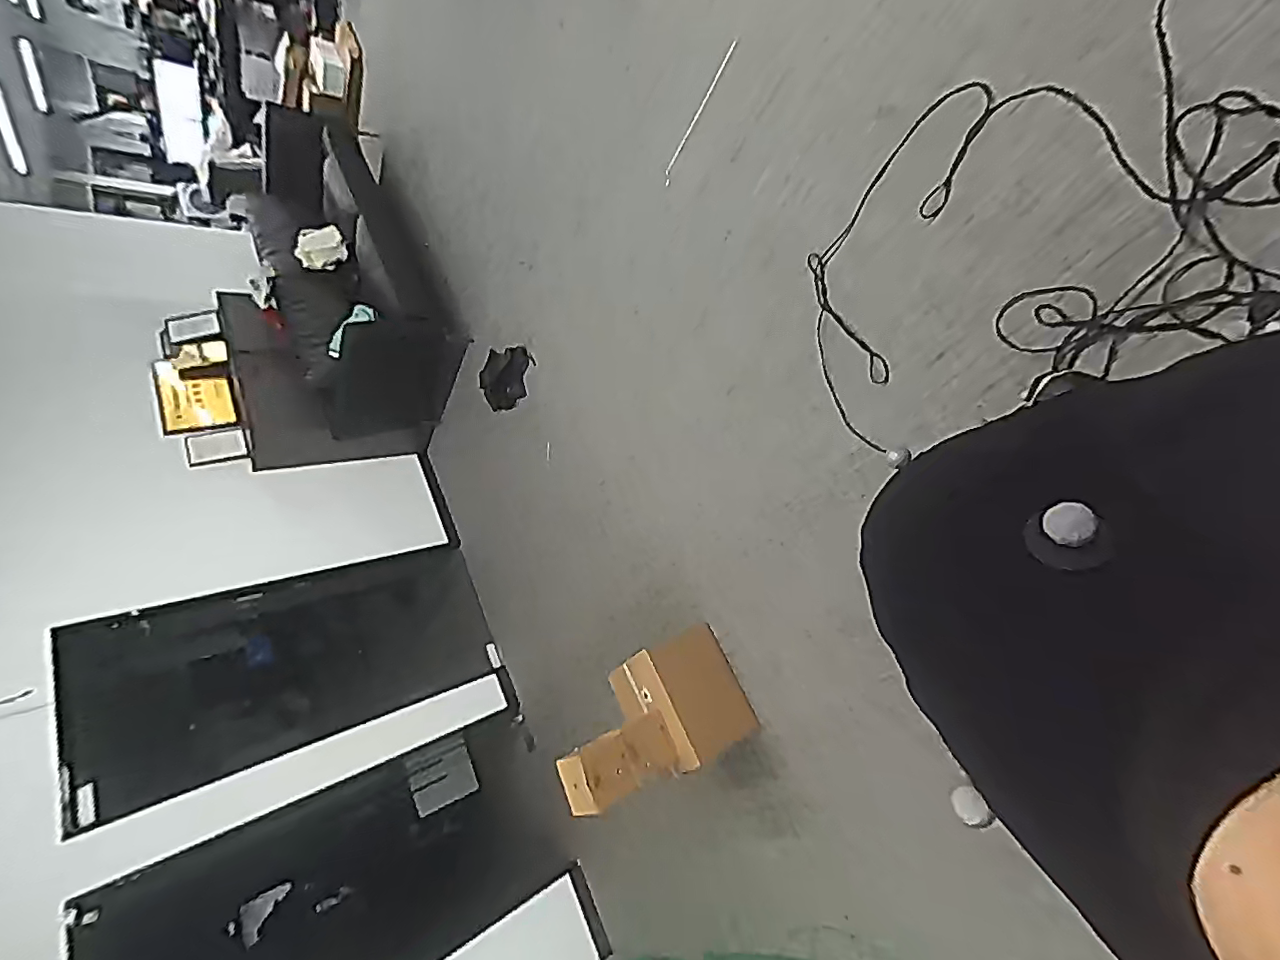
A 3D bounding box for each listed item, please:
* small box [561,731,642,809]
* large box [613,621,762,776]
[{"bbox_3d":[-0.122,0.915,1.709,0.179,0.176,0.168,-42,65,46],"label":"small box"},{"bbox_3d":[0.166,0.792,1.979,0.320,0.320,0.408,-49,59,43],"label":"large box"}]
